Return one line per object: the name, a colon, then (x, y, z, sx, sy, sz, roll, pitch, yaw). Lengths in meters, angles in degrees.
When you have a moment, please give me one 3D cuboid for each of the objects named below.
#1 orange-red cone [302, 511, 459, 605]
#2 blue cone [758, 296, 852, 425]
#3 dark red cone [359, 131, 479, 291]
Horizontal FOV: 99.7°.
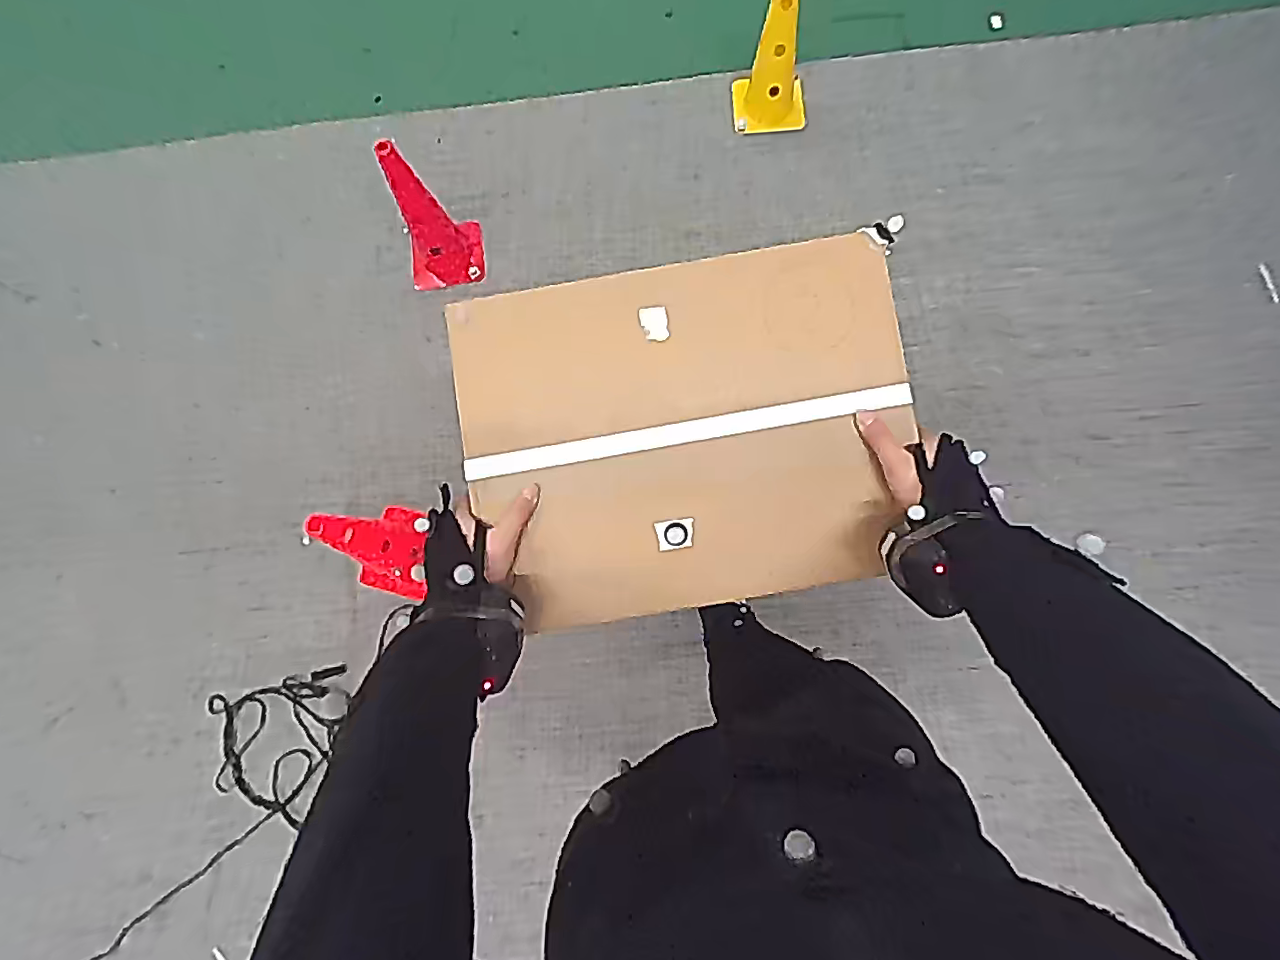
orange-red cone: (-0.567, 0.131, 1.127, 0.199, 0.360, 0.198, 14, 74, 11)
blue cone: (0.378, -0.272, 1.172, 0.192, 0.380, 0.193, -5, 73, 4)
dark red cone: (-0.563, -0.675, 1.346, 0.202, 0.394, 0.201, -12, 70, 2)
